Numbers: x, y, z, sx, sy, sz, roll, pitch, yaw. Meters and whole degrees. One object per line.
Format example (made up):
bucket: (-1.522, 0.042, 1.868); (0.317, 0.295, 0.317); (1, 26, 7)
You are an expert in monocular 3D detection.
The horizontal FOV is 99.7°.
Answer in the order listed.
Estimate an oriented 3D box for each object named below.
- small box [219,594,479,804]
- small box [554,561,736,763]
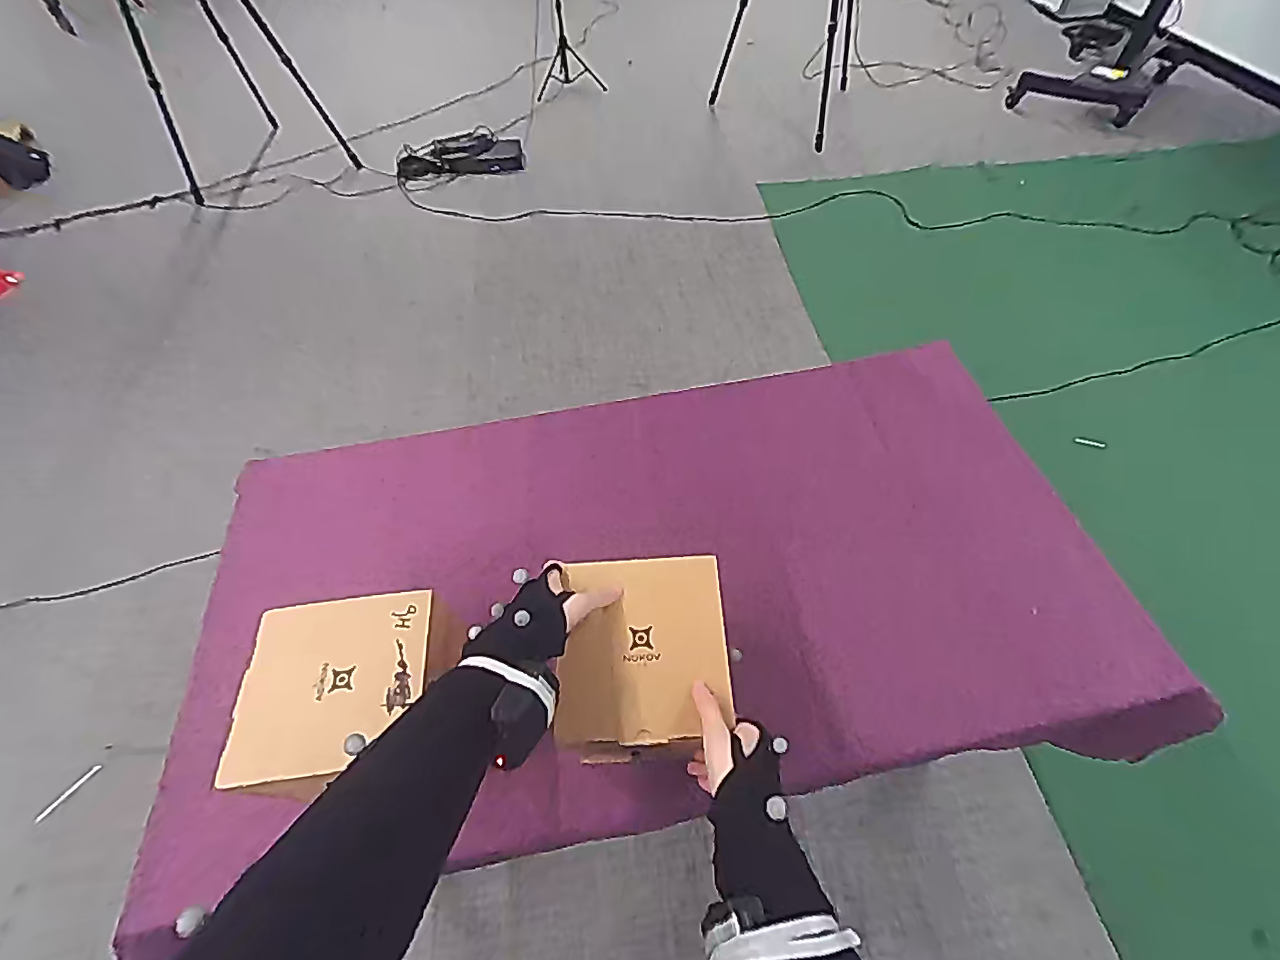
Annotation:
small box: (-0.287, 0.240, 0.582); (0.179, 0.176, 0.168); (-7, 56, -3)
small box: (0.006, 0.204, 0.591); (0.168, 0.176, 0.179); (-3, 59, 2)
